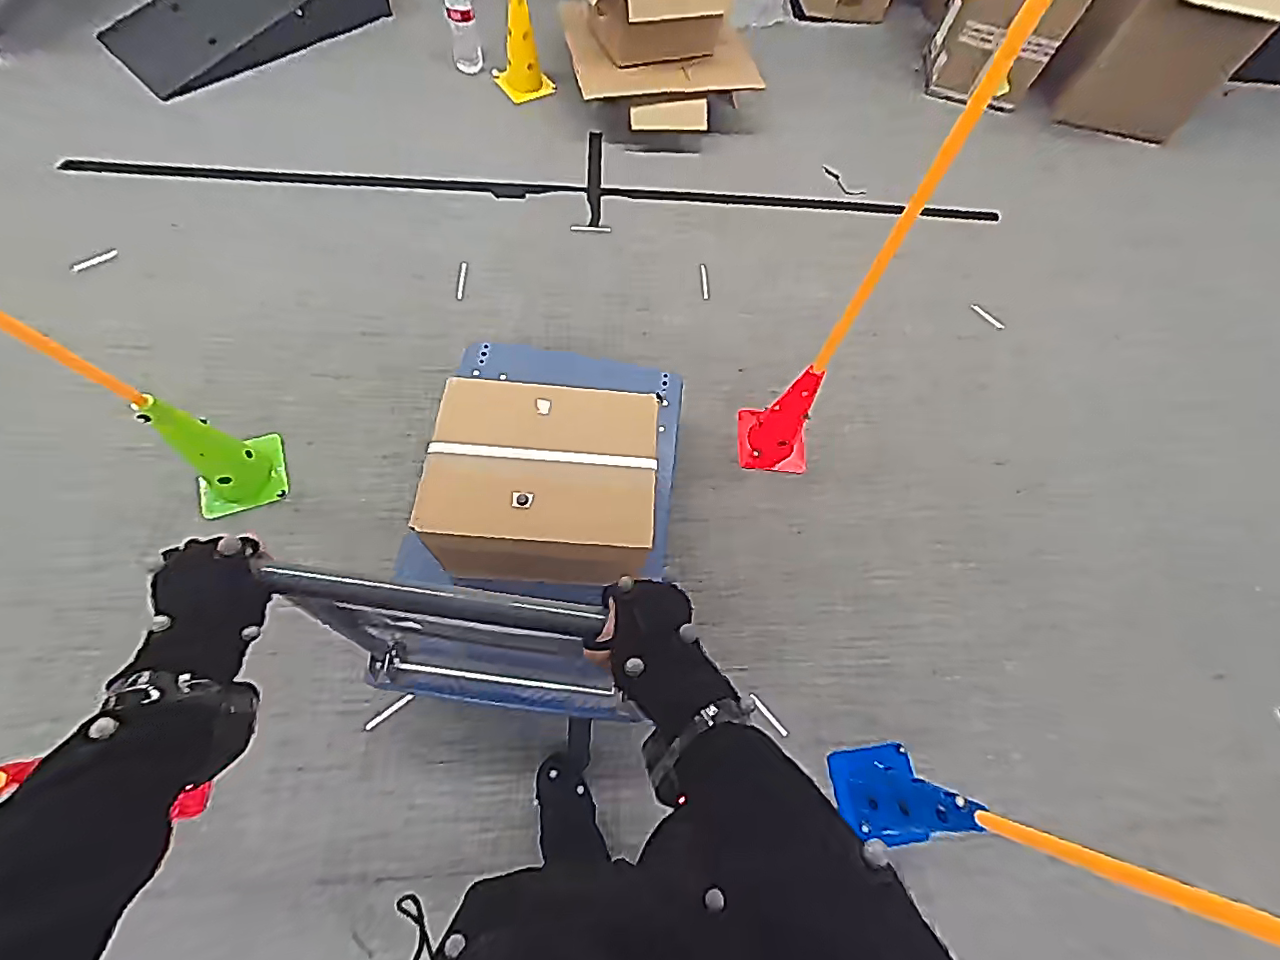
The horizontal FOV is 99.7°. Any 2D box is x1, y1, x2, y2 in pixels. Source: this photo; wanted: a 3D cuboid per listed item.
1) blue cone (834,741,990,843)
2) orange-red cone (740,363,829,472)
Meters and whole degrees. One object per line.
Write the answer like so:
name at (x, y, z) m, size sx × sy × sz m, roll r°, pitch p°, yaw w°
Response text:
blue cone at (0.565, 0.637, 1.084) m, size 0.193 × 0.380 × 0.192 m, roll -3°, pitch 65°, yaw -8°
orange-red cone at (0.412, -0.191, 1.432) m, size 0.199 × 0.360 × 0.198 m, roll 7°, pitch 66°, yaw -4°
